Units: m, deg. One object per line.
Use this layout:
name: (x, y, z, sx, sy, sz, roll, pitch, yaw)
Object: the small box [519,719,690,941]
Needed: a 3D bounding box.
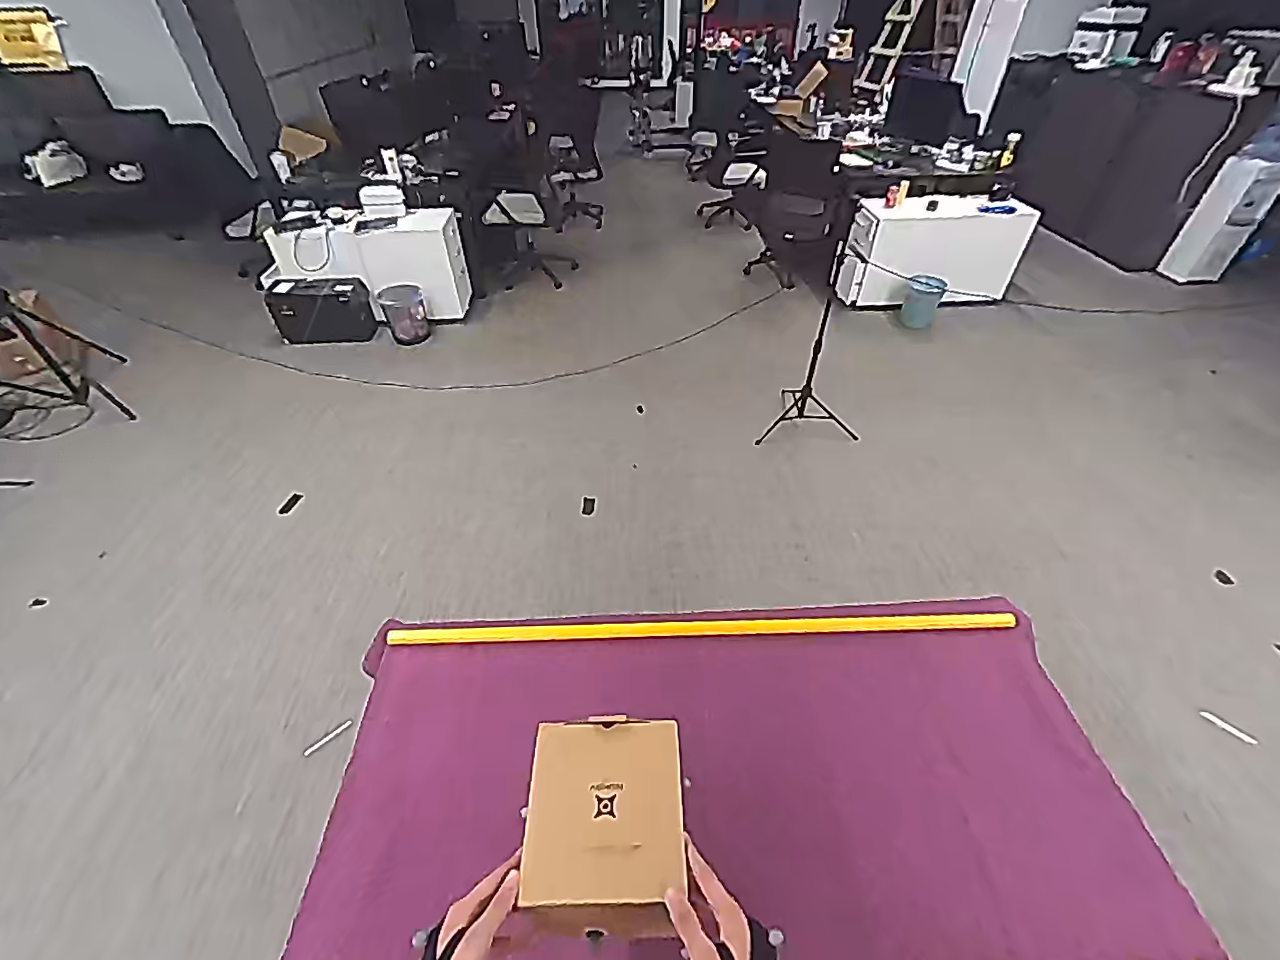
small box: (-0.034, 0.400, 0.623, 0.168, 0.176, 0.179, -1, 40, 0)
